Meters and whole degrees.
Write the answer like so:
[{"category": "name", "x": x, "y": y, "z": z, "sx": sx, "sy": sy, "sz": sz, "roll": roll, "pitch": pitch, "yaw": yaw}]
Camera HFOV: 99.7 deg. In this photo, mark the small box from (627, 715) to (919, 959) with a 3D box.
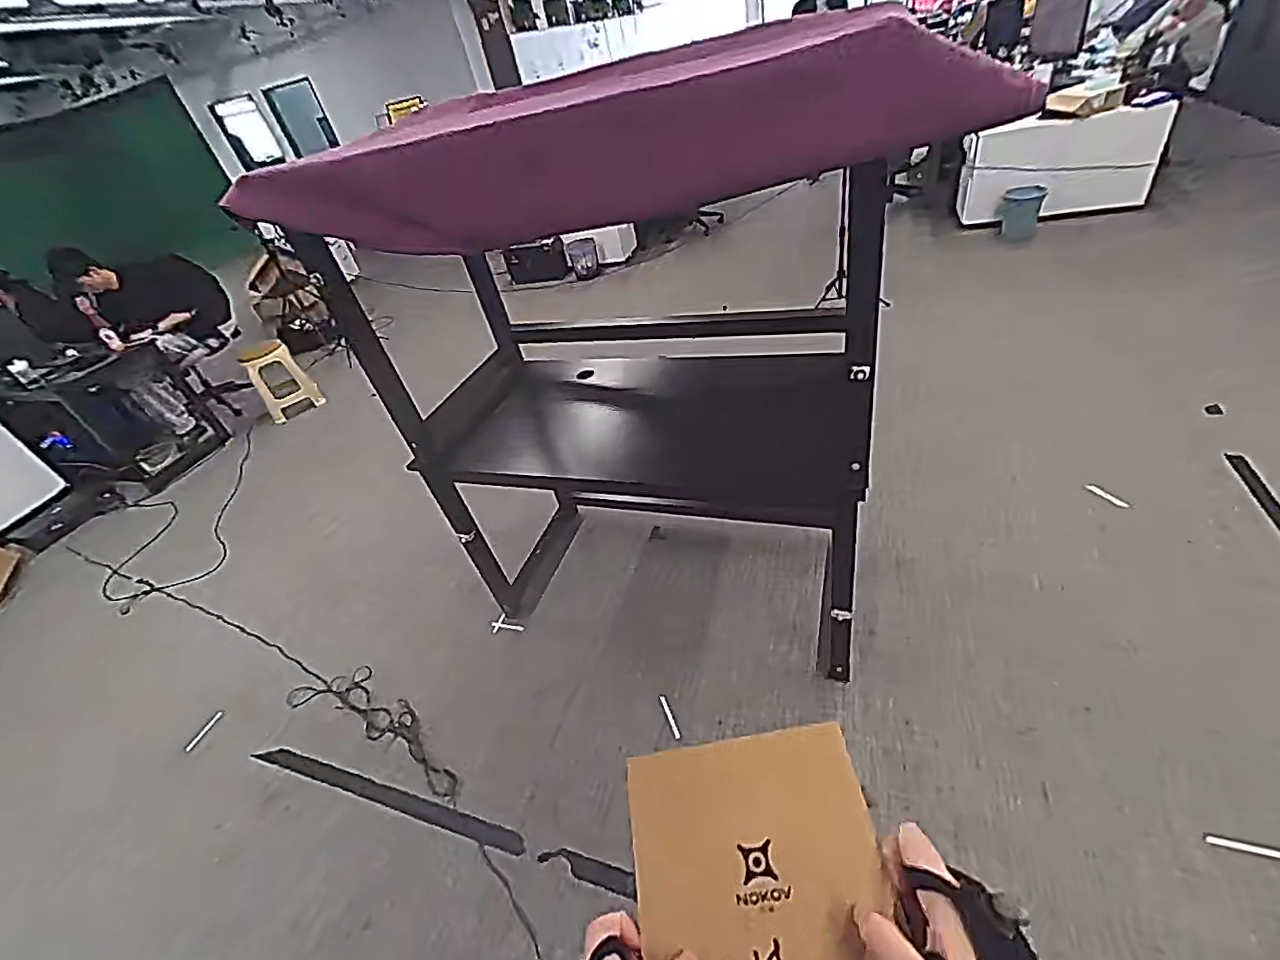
[{"category": "small box", "x": 0.092, "y": 0.304, "z": 0.410, "sx": 0.168, "sy": 0.176, "sz": 0.179, "roll": -13, "pitch": 49, "yaw": 5}]
